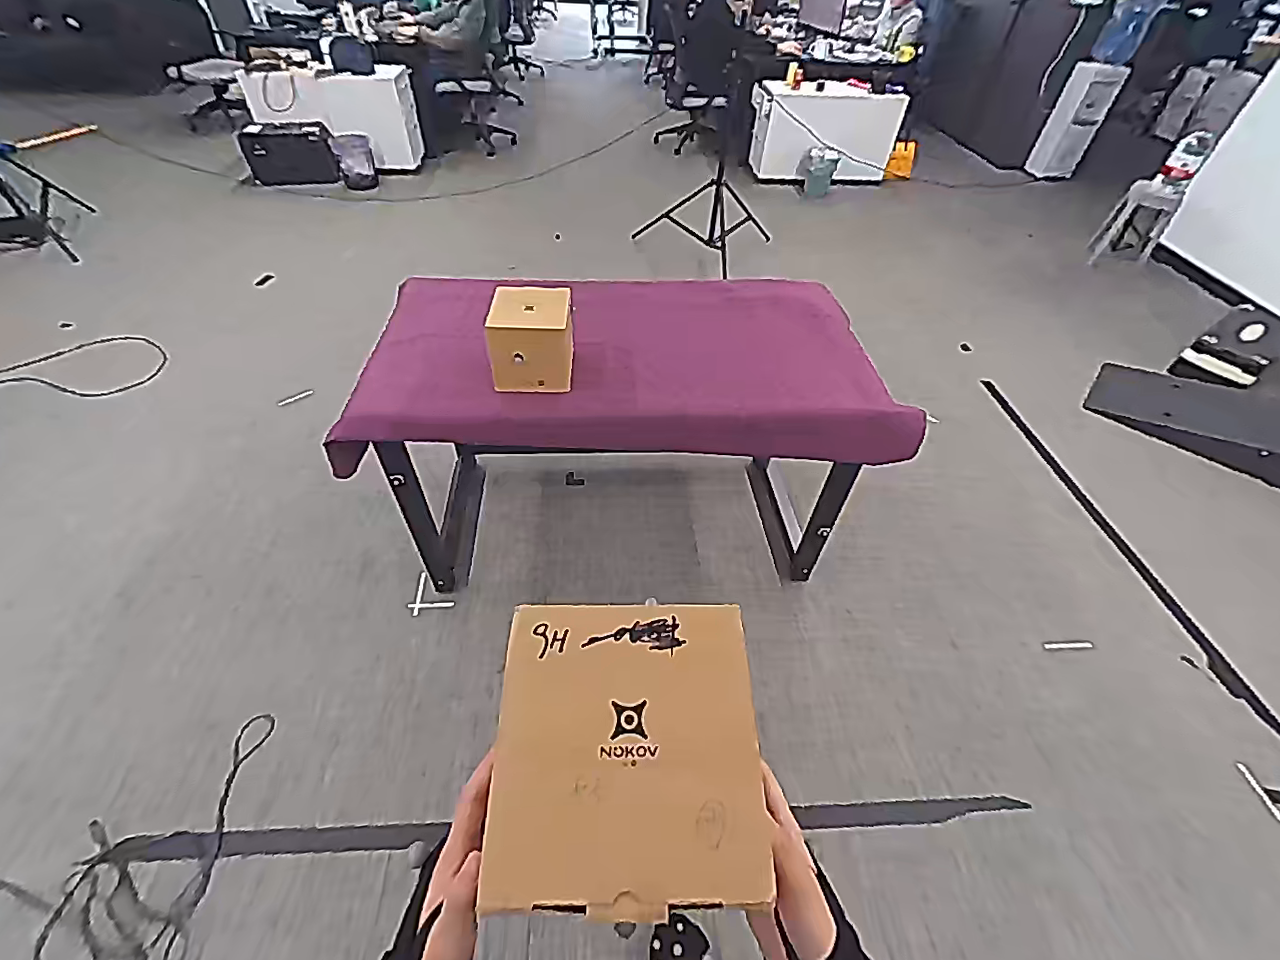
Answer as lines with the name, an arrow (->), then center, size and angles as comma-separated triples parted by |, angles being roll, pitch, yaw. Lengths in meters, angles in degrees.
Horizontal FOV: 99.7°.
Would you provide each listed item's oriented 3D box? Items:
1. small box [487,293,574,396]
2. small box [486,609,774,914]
small box -> -0.238, -0.304, 1.222 | 0.168, 0.176, 0.179 | 0, 46, -4
small box -> -0.006, 0.211, 0.412 | 0.168, 0.176, 0.179 | 0, 54, -2
